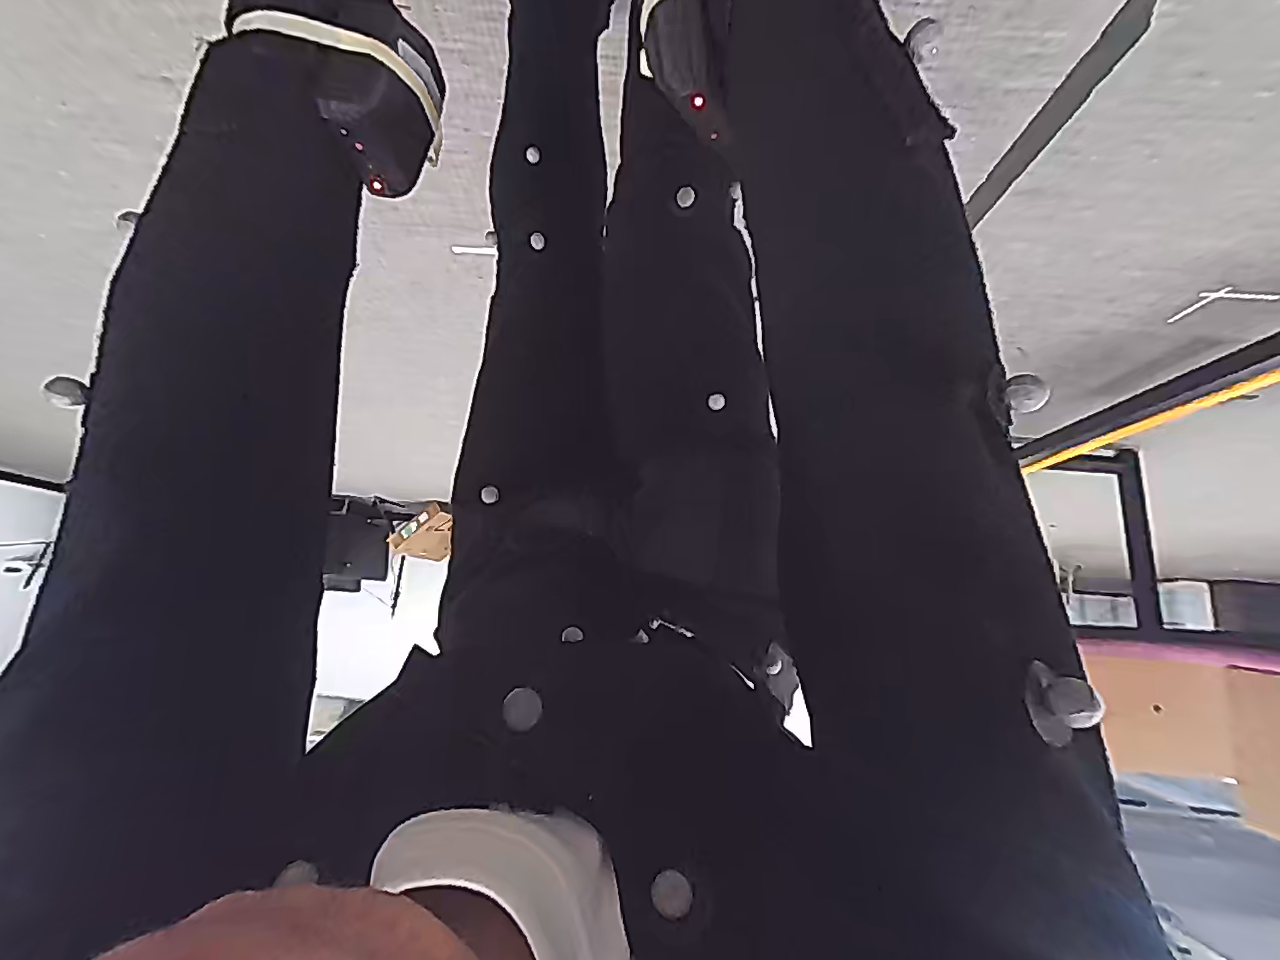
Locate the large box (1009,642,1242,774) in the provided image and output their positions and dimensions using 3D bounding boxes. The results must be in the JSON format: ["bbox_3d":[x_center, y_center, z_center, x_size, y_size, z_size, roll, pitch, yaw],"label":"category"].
[{"bbox_3d":[1.431,0.670,1.640,0.408,0.320,0.320,3,167,2],"label":"large box"}]
